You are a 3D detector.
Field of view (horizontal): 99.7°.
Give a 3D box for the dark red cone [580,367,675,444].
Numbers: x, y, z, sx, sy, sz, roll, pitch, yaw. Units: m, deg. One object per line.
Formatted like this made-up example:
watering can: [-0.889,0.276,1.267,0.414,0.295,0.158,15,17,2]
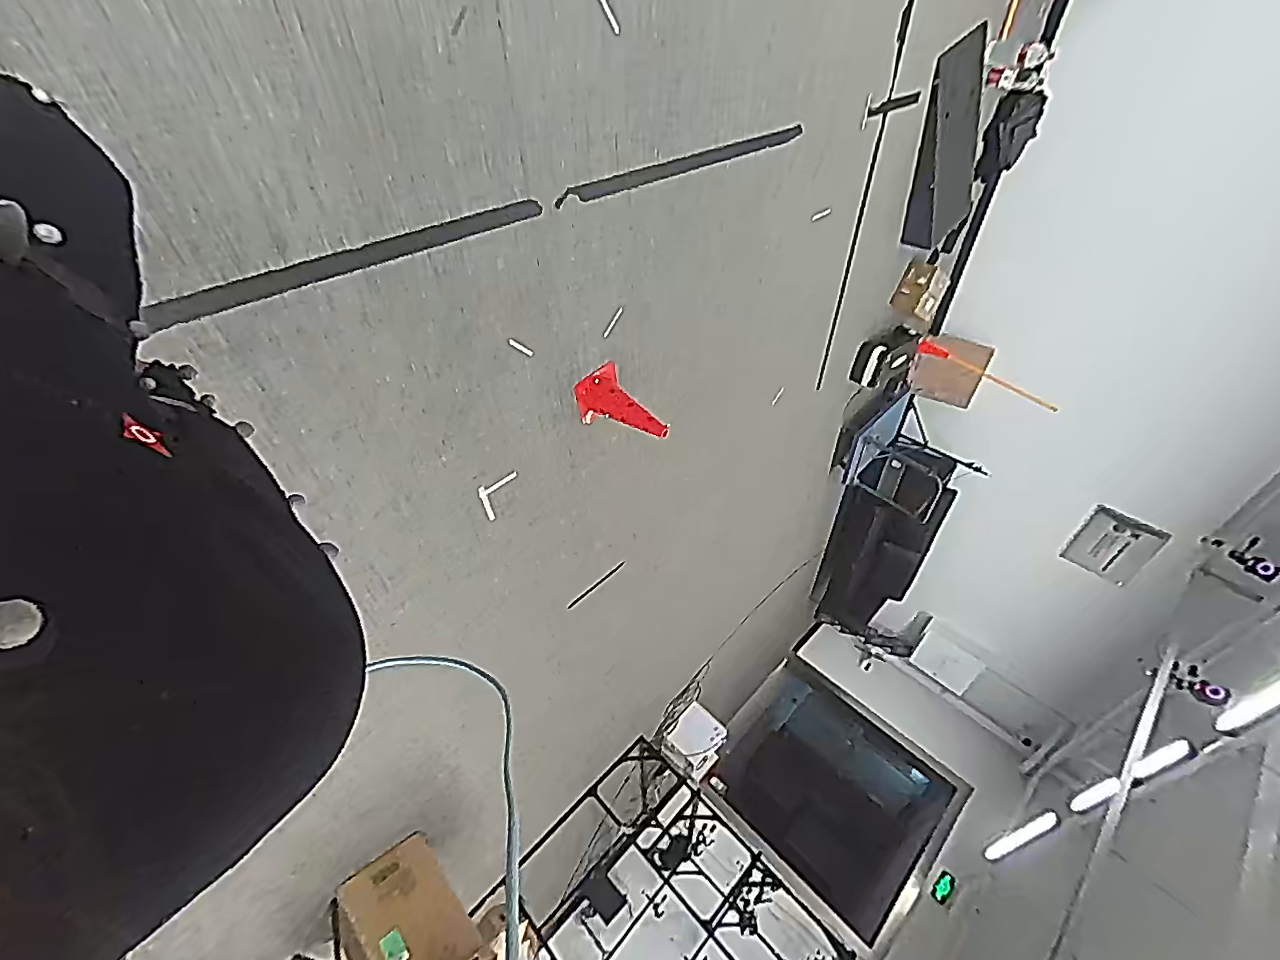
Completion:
dark red cone: [-0.025,-0.233,1.955,0.202,0.394,0.201,-40,144,-24]
